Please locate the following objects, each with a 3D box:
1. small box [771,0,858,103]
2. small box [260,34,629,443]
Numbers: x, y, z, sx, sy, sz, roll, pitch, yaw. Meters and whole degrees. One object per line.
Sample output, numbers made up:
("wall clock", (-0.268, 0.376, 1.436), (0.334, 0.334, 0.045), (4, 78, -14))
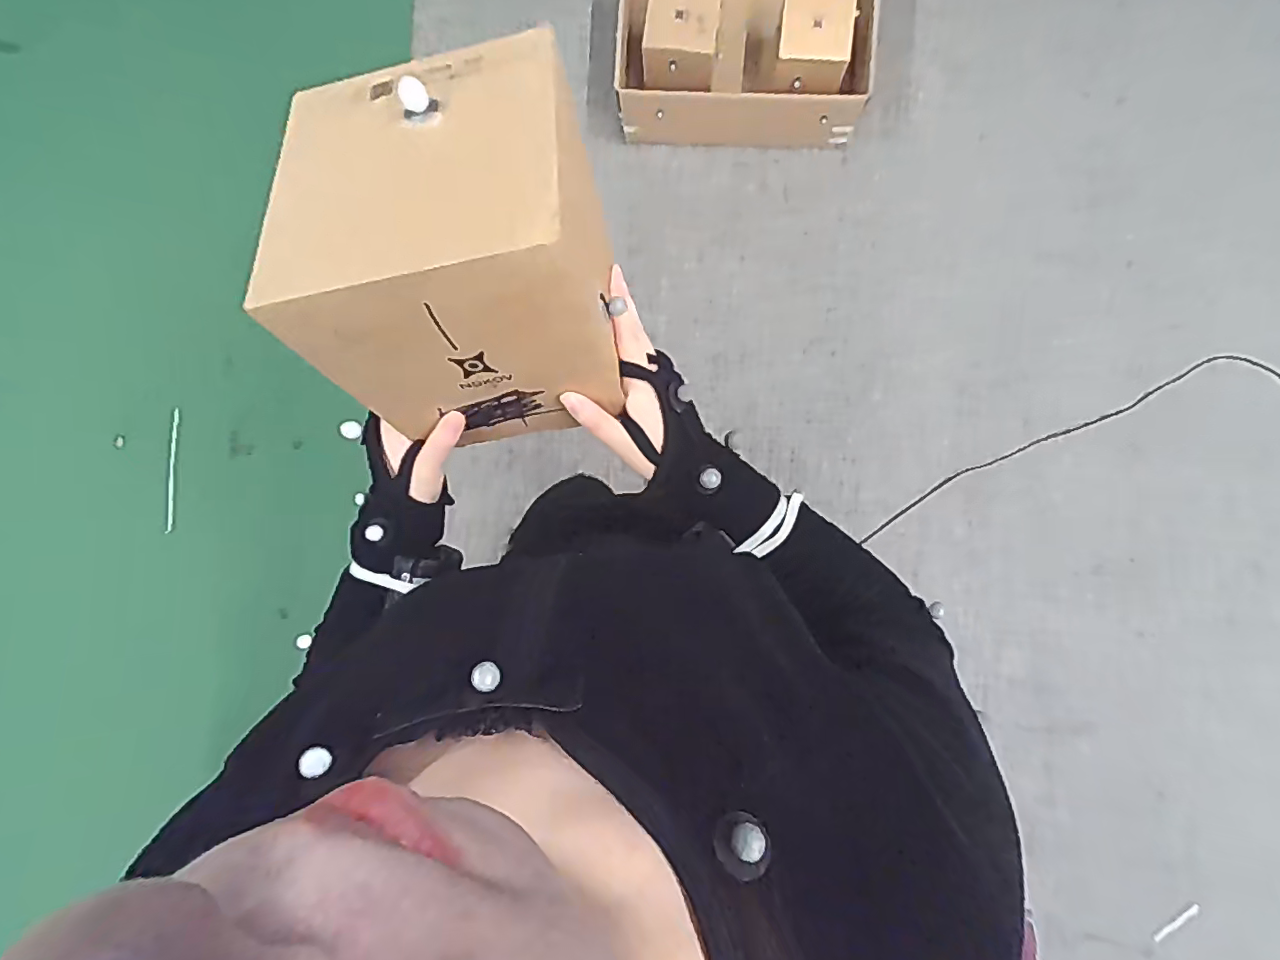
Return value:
("small box", (0.422, -1.064, 1.324), (0.168, 0.176, 0.179), (6, 91, 4))
("small box", (-0.105, -0.146, 0.371), (0.168, 0.179, 0.176), (-9, 66, 7))
